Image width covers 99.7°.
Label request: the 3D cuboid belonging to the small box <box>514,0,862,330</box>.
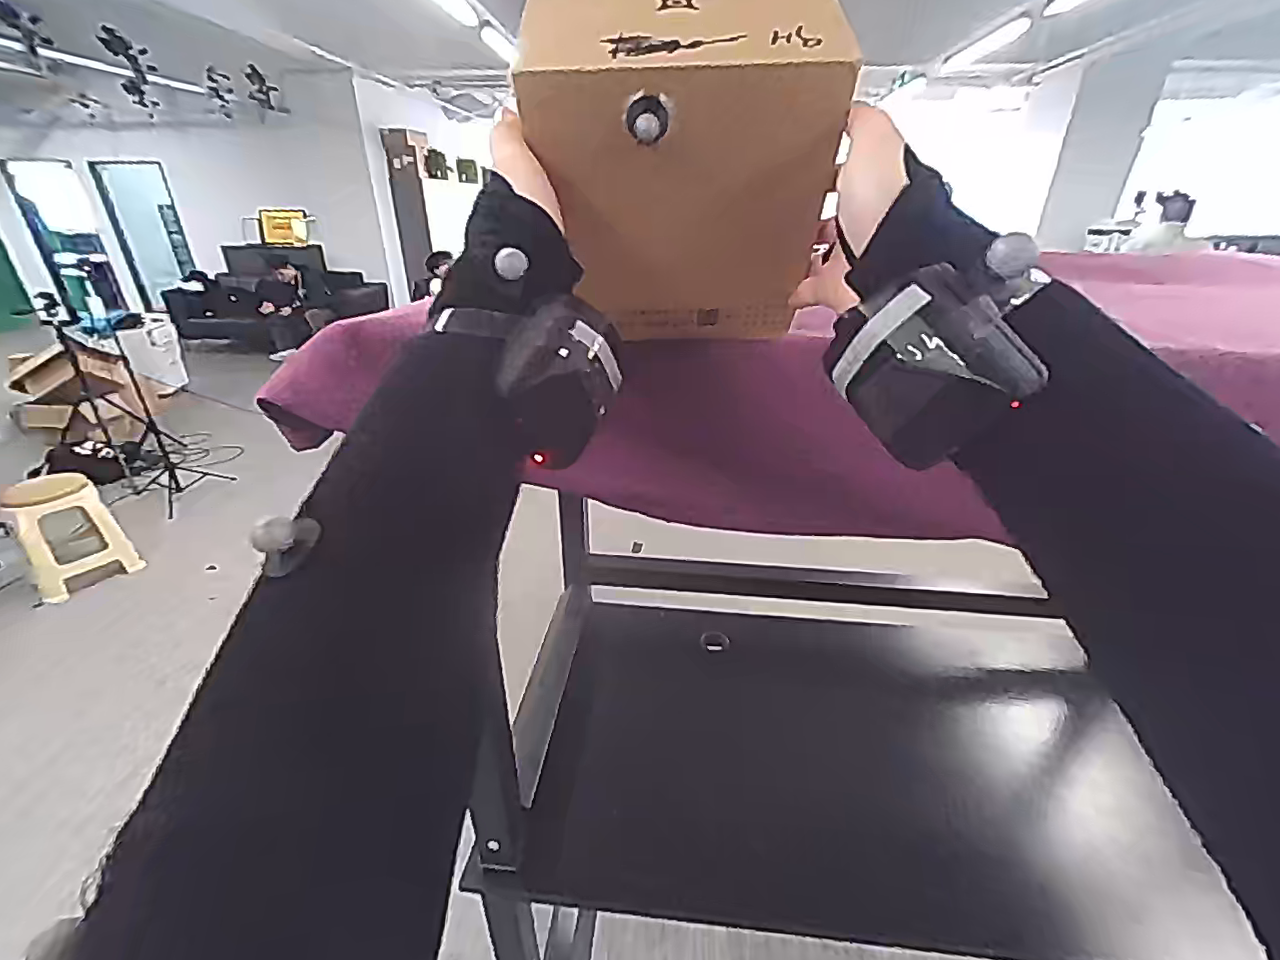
[{"bbox_3d":[0.024,-0.223,0.363,0.168,0.176,0.179,-2,55,1],"label":"small box"}]
